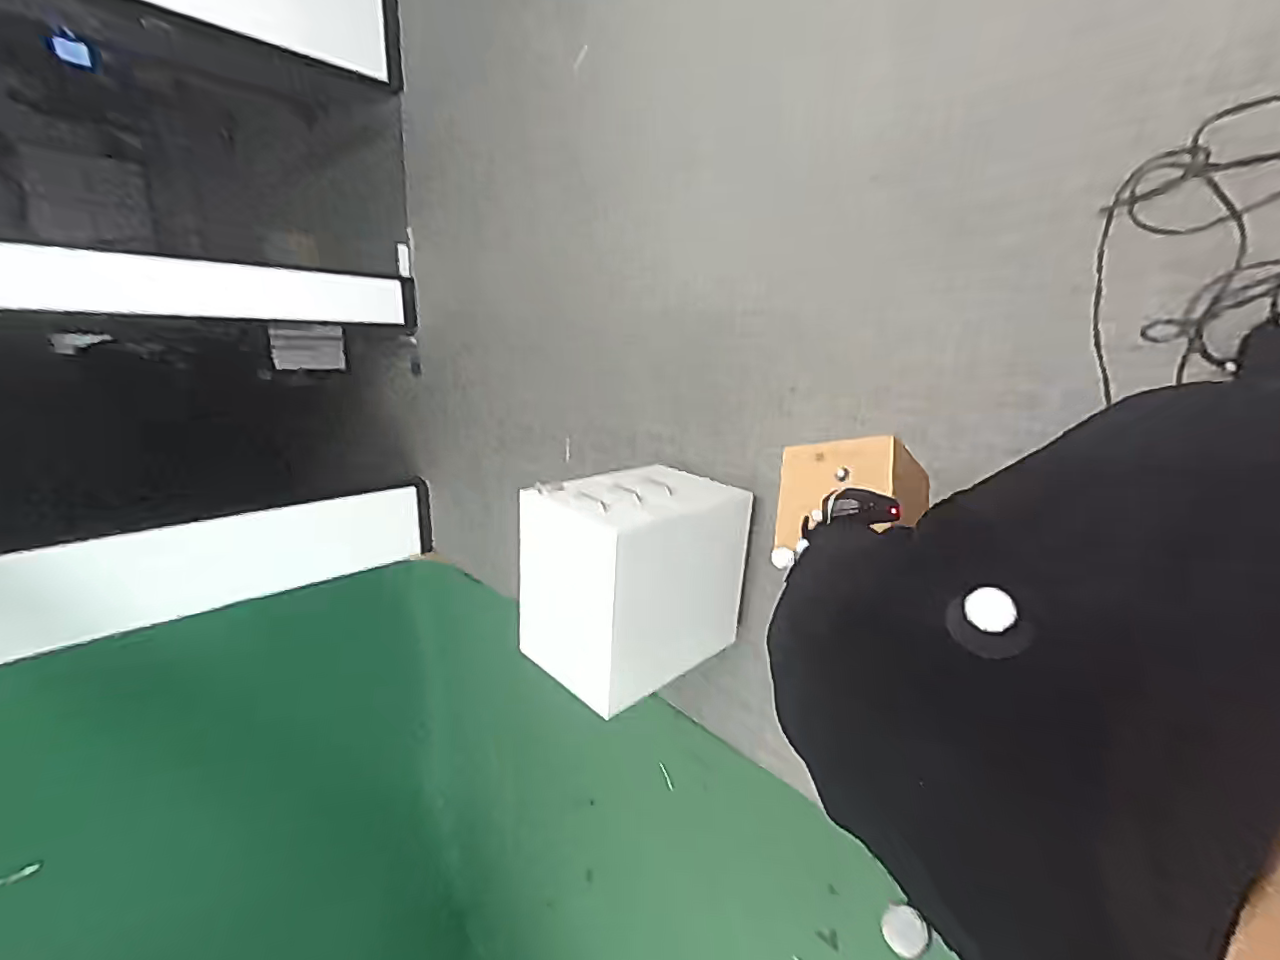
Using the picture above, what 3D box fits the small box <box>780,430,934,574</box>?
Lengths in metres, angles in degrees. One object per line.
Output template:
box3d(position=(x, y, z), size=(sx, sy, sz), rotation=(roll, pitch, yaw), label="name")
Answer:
box3d(position=(0.331, 0.036, 0.811), size=(0.168, 0.179, 0.176), rotation=(-3, 69, 41), label="small box")
